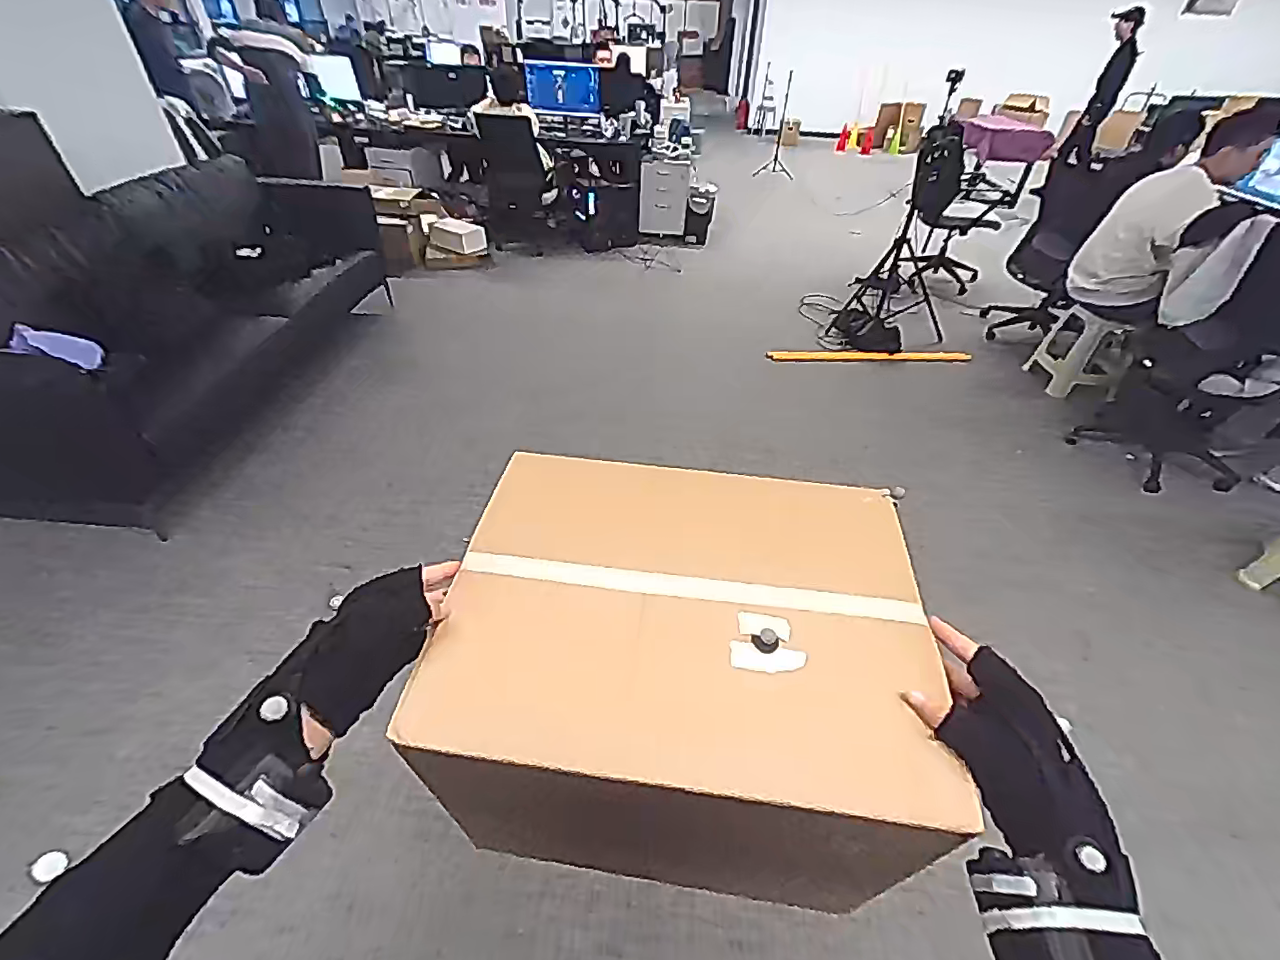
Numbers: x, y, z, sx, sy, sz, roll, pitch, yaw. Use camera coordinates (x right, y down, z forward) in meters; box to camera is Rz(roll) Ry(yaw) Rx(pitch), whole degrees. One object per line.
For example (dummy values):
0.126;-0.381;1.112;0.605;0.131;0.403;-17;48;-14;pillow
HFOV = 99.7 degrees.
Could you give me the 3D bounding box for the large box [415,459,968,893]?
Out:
0.041;0.206;0.590;0.408;0.320;0.320;7;44;4;large box
